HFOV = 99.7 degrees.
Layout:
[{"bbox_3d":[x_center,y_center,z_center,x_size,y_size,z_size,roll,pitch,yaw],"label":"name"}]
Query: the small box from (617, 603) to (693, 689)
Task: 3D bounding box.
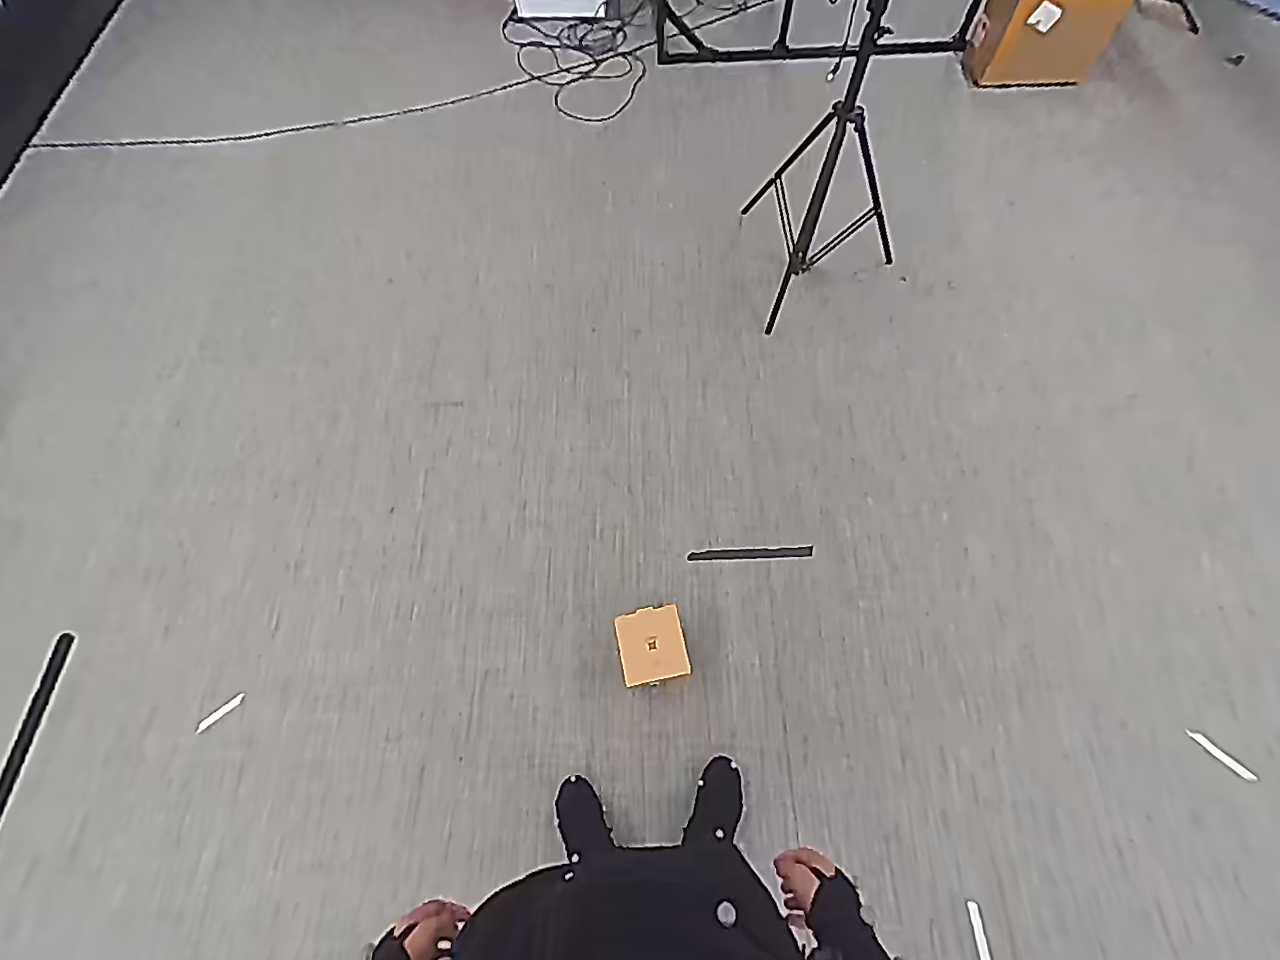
[{"bbox_3d":[0.038,0.440,1.420,0.168,0.176,0.179,-12,66,-2],"label":"small box"}]
